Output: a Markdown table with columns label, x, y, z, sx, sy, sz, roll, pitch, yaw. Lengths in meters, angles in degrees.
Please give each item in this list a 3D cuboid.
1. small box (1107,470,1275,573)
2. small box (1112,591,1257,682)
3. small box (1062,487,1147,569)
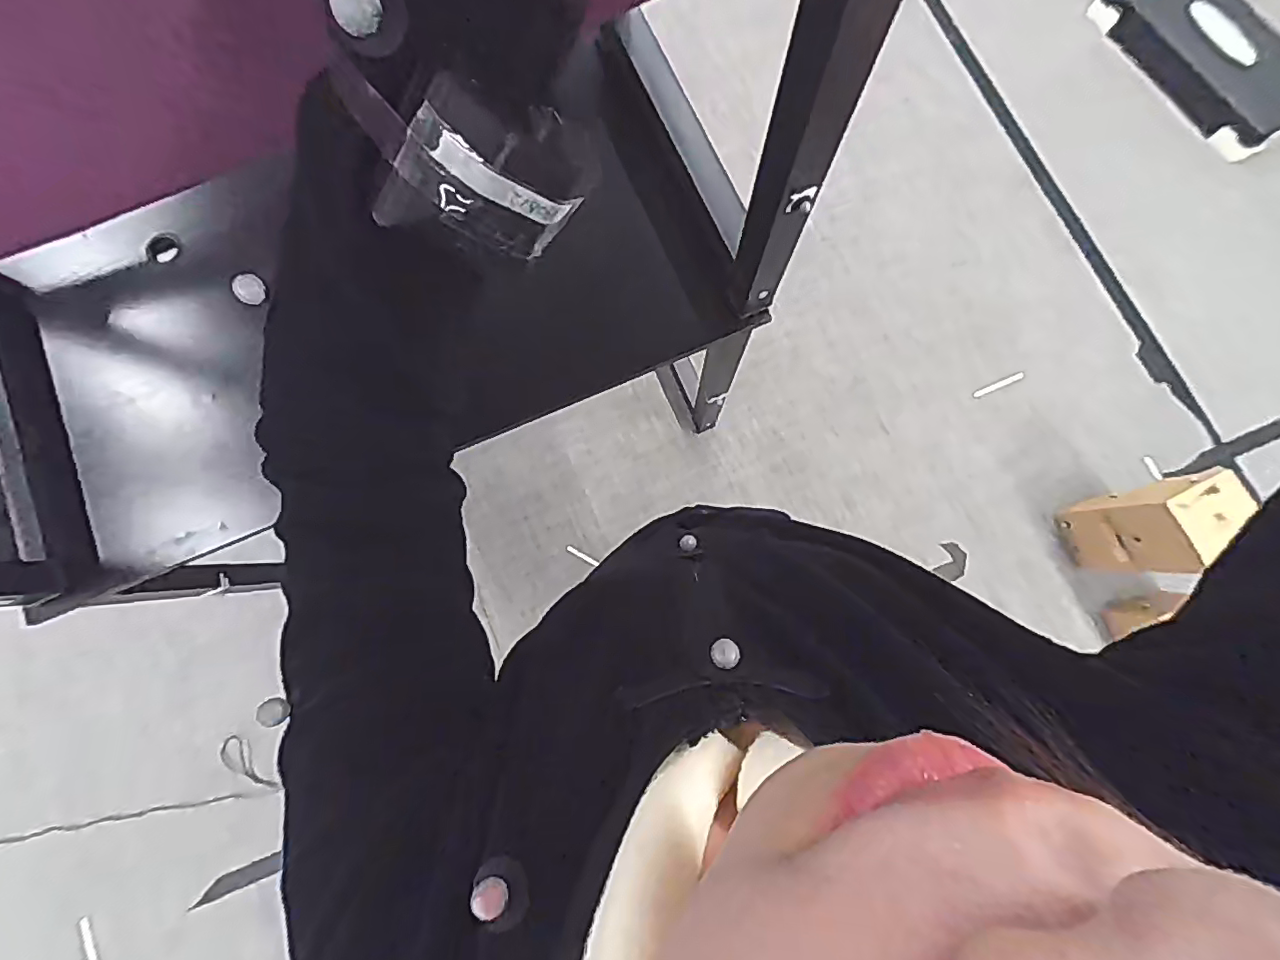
| label | x | y | z | sx | sy | sz | roll | pitch | yaw |
| --- | --- | --- | --- | --- | --- | --- | --- | --- | --- |
| small box | 1.240 | 0.096 | 1.232 | 0.168 | 0.176 | 0.179 | -26 | 83 | -3 |
| small box | 1.347 | 0.385 | 1.358 | 0.179 | 0.176 | 0.168 | -18 | 83 | -1 |
| small box | 1.244 | 0.124 | 1.395 | 0.179 | 0.176 | 0.168 | -21 | 82 | -2 |
